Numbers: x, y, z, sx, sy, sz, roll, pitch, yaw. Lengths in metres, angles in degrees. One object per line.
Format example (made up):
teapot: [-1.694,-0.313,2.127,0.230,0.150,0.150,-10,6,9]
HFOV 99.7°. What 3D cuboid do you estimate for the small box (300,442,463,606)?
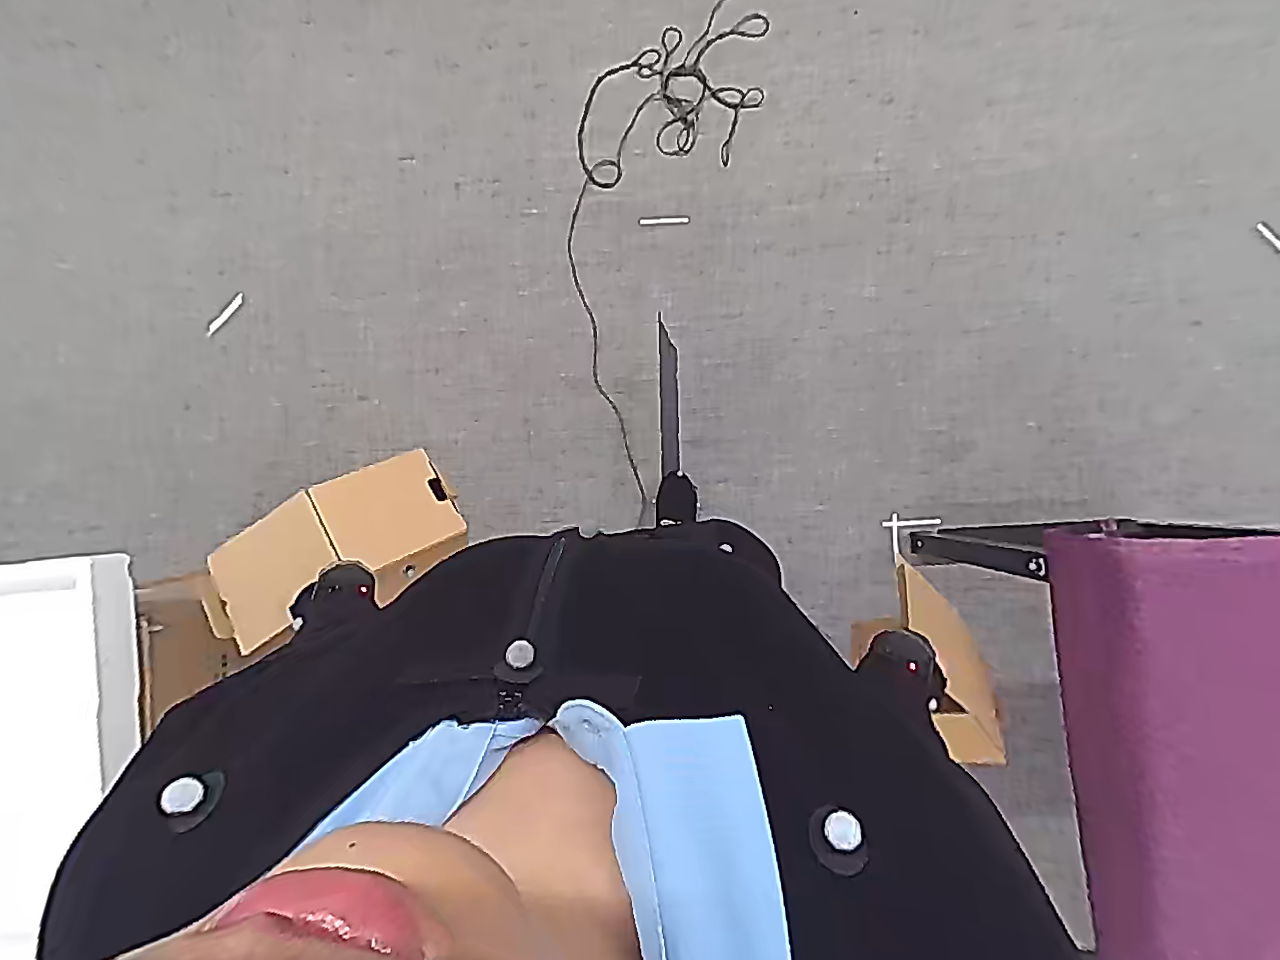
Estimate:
small box: [-0.394,0.074,0.853,0.179,0.176,0.168,-26,73,-29]
